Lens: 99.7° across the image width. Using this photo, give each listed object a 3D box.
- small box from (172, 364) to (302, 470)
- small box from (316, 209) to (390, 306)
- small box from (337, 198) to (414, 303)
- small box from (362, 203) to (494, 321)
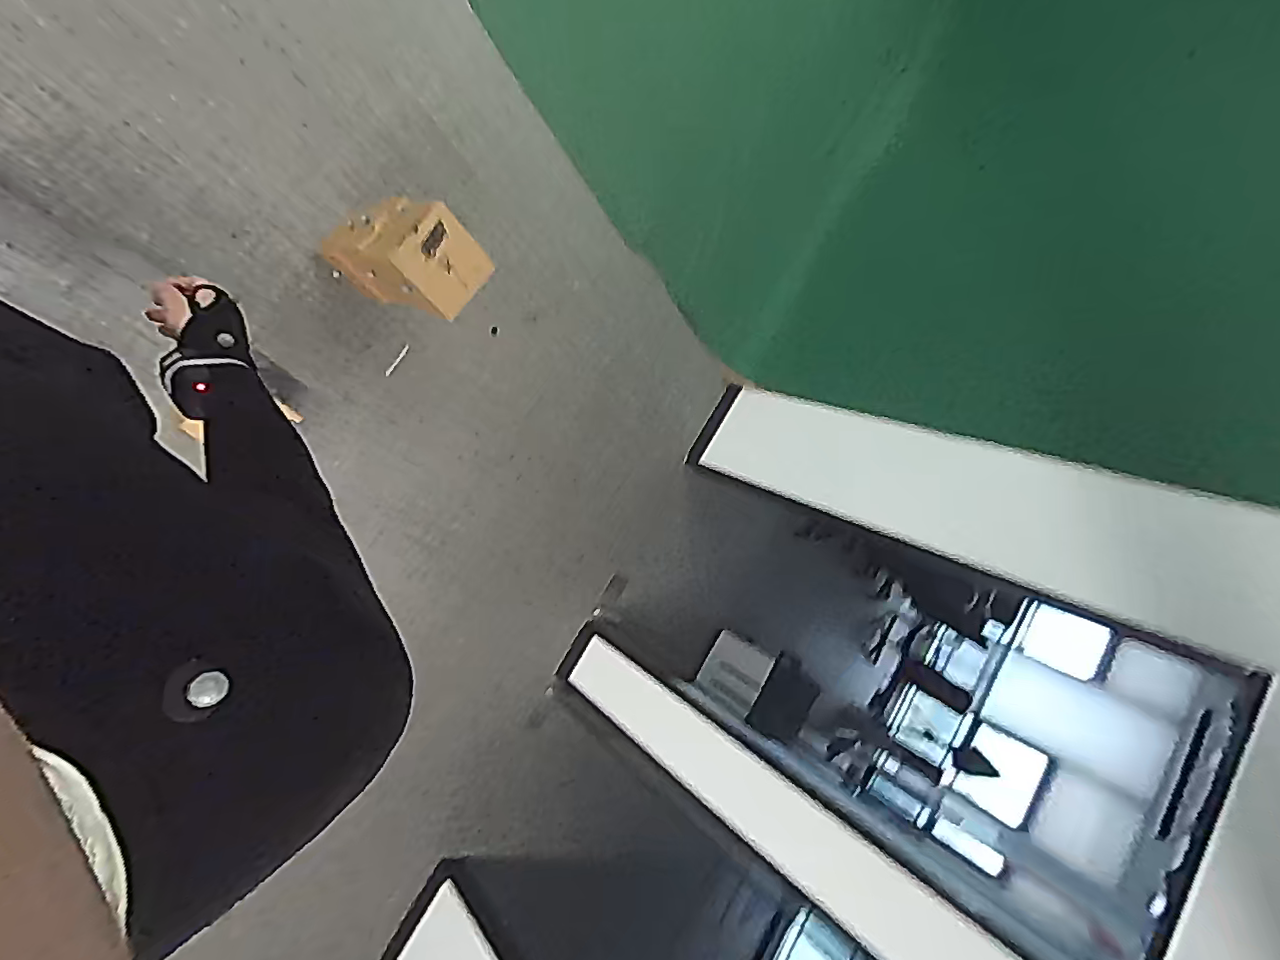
[{"bbox_3d":[-0.965,-0.157,1.296,0.168,0.176,0.179,-52,137,-20],"label":"small box"},{"bbox_3d":[-0.694,-0.579,1.394,0.179,0.176,0.168,-54,138,-13],"label":"small box"},{"bbox_3d":[-0.579,-0.535,1.286,0.168,0.176,0.179,-55,137,-13],"label":"small box"},{"bbox_3d":[-0.466,-0.473,1.183,0.168,0.176,0.179,-56,139,-12],"label":"small box"}]
